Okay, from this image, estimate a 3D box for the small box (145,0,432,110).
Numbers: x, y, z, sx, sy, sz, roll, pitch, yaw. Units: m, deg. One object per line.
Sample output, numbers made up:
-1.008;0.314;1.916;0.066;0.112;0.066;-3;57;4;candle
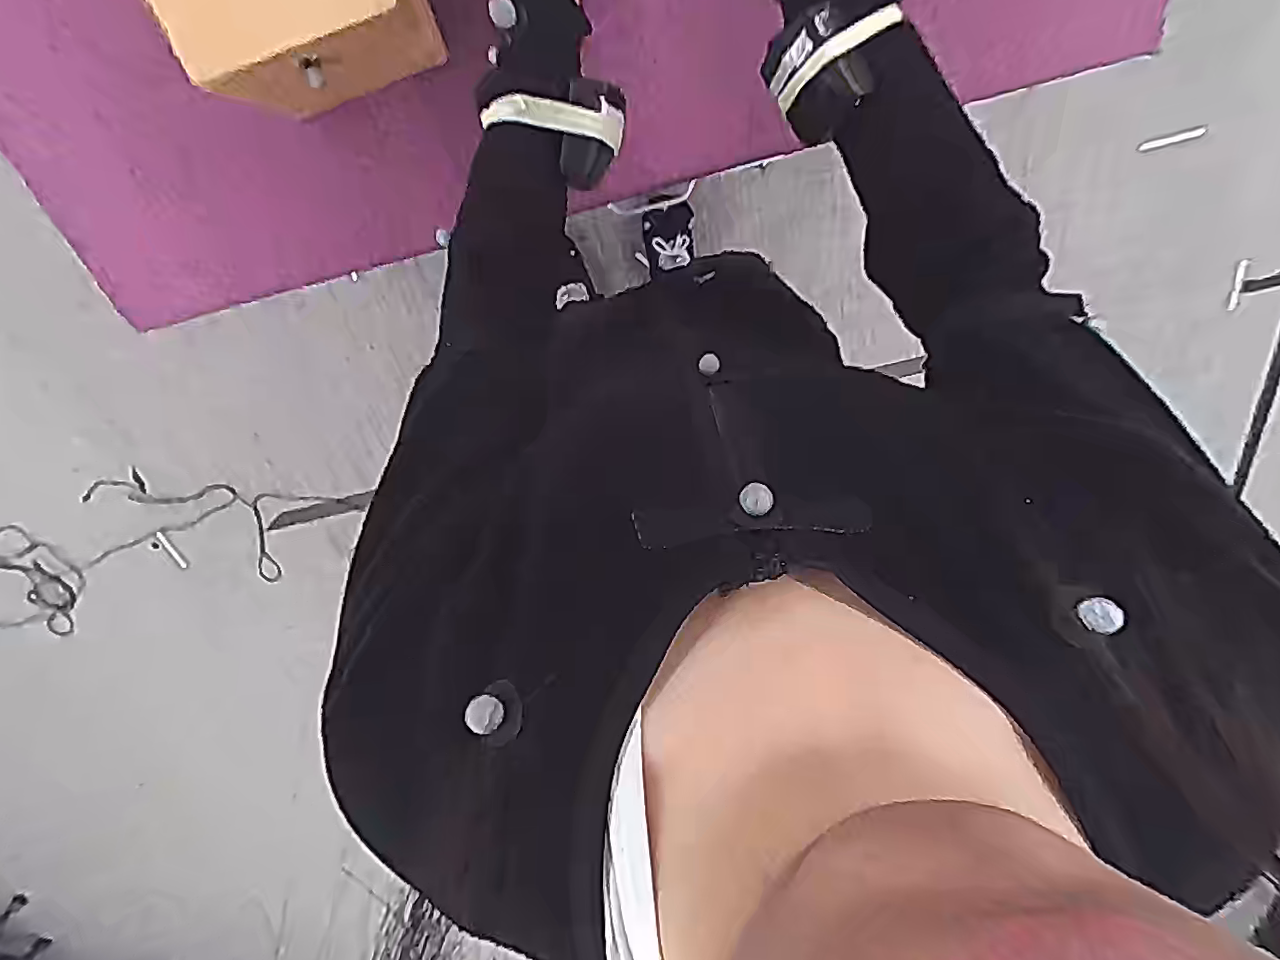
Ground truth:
-0.294;-0.435;0.446;0.179;0.176;0.168;-18;118;5;small box
